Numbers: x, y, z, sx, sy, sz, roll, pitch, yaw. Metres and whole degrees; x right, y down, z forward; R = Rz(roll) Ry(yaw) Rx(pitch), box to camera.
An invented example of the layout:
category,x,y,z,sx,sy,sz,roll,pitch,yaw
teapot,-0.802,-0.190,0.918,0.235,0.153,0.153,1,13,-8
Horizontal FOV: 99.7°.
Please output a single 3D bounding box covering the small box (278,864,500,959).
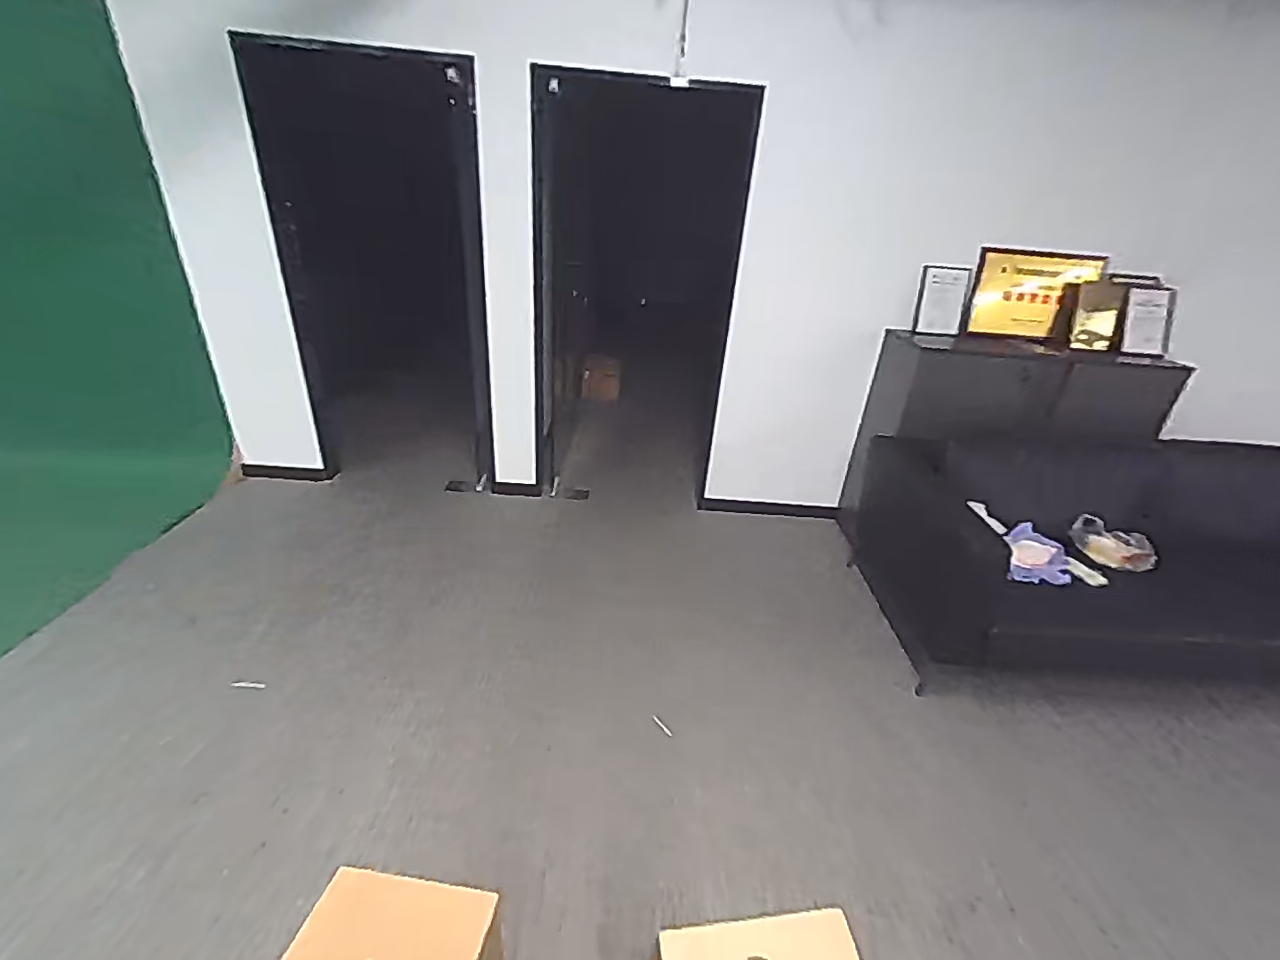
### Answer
category,x,y,z,sx,sy,sz,roll,pitch,yaw
small box,-0.233,0.493,0.476,0.168,0.176,0.179,6,22,5
